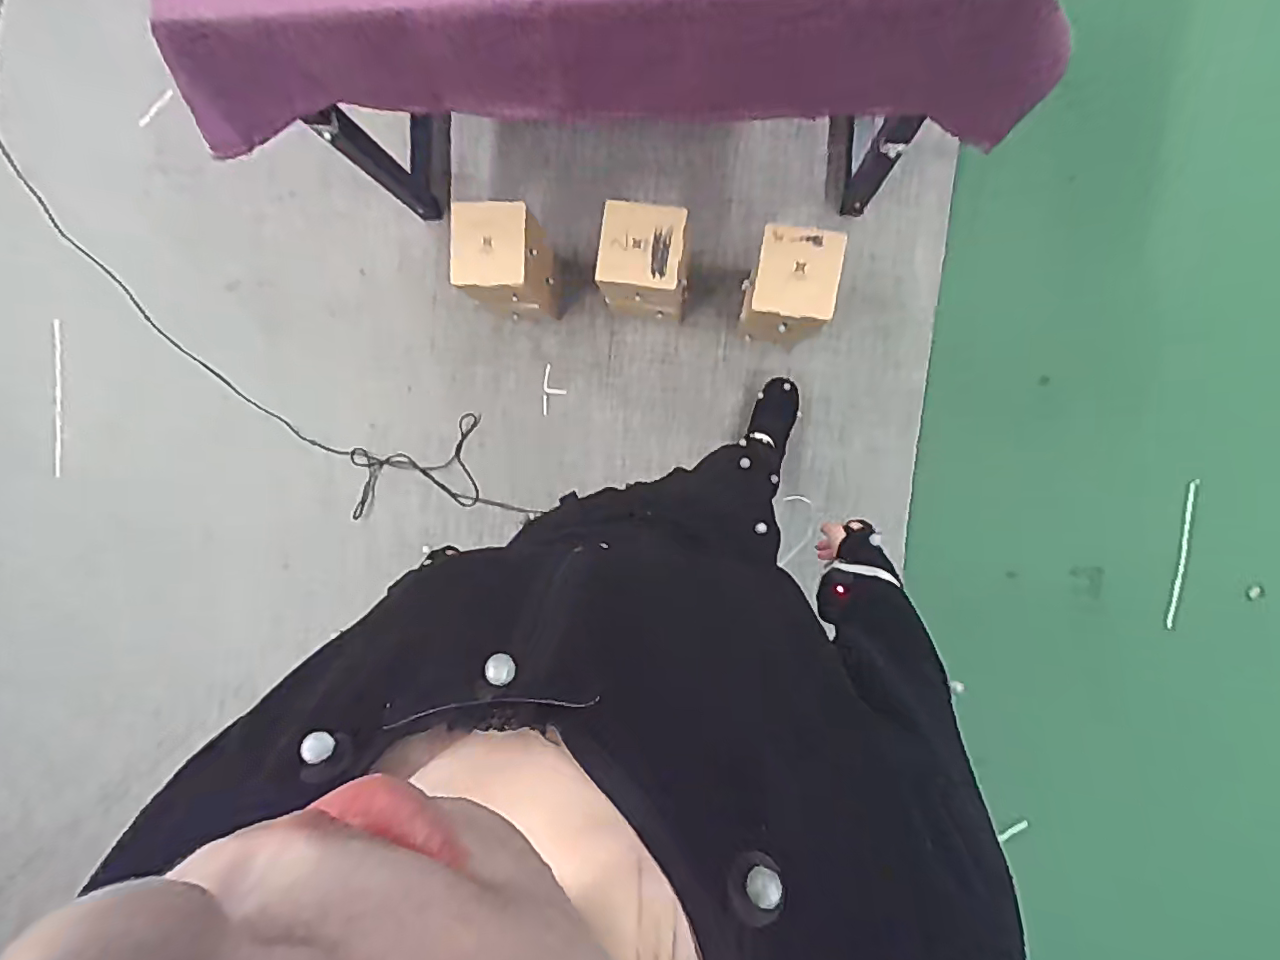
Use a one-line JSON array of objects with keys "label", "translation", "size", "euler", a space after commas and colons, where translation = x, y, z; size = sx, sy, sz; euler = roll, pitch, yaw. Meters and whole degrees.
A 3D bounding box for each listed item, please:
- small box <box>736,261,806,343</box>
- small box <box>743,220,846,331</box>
[{"label": "small box", "translation": [0.339, -0.449, 1.333], "size": [0.168, 0.176, 0.179], "euler": [15, 95, 5]}, {"label": "small box", "translation": [0.324, -0.431, 1.168], "size": [0.168, 0.176, 0.179], "euler": [10, 96, 3]}]
